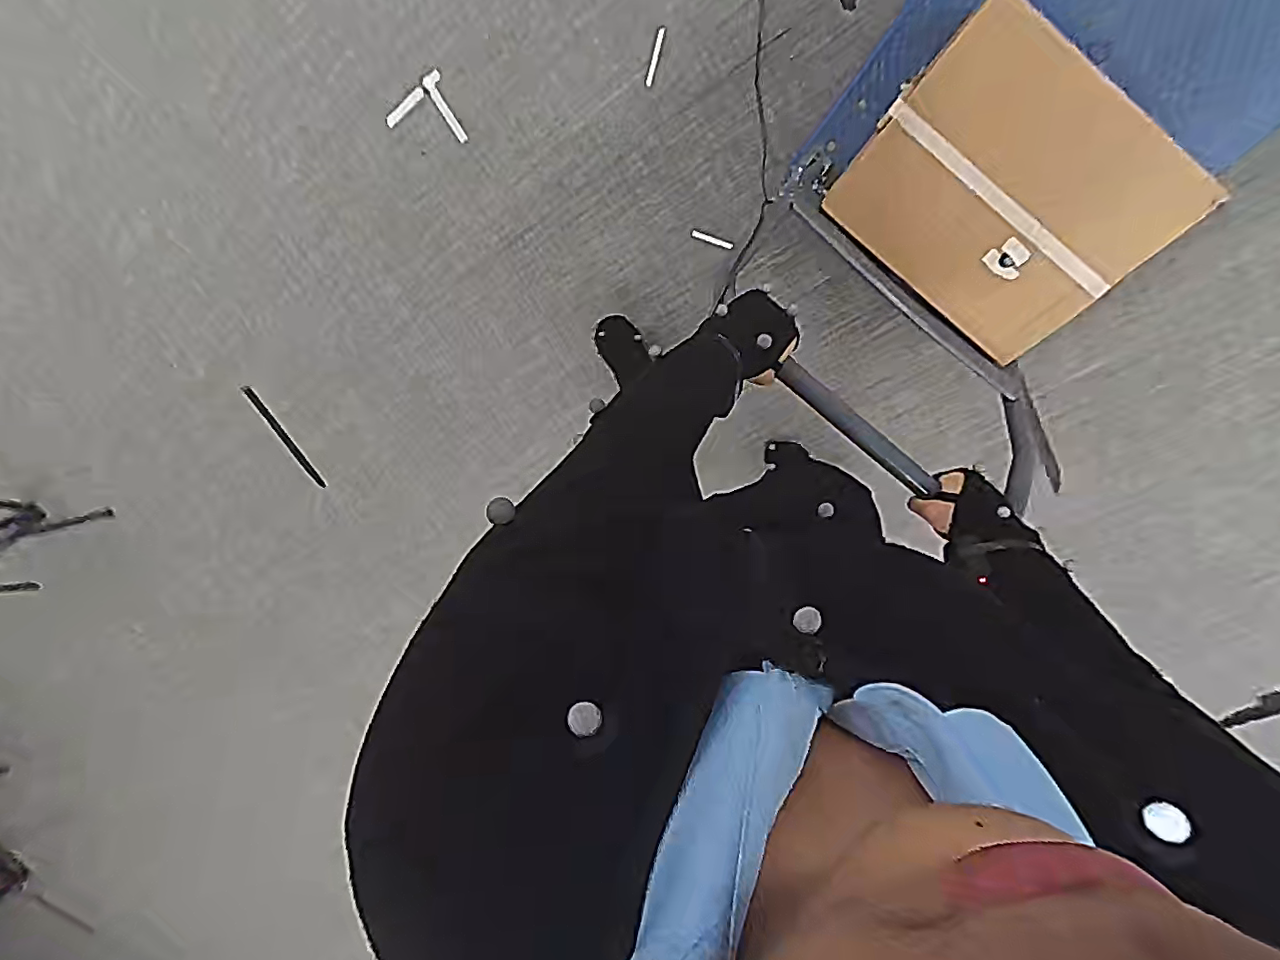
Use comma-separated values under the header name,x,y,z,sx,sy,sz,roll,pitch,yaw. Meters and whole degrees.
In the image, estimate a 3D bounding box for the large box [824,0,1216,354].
name,x,y,z,sx,sy,sz,roll,pitch,yaw
large box,0.576,-0.495,0.904,0.408,0.320,0.320,38,131,-5
